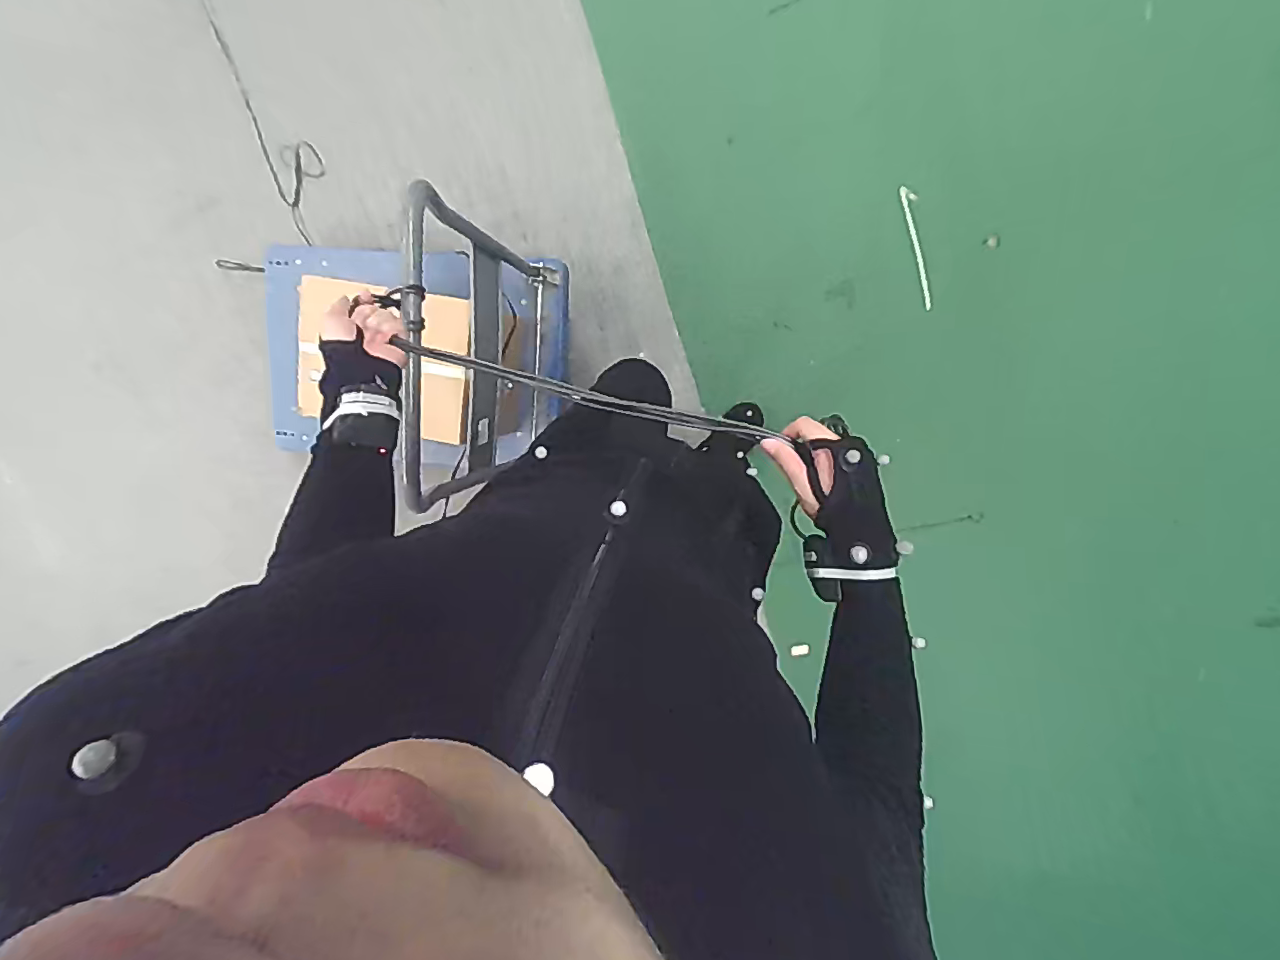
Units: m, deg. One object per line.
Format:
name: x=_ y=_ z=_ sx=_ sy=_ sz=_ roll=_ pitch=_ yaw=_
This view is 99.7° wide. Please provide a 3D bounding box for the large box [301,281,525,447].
large box: x=-0.531 y=-0.279 z=1.320 sx=0.408 sy=0.320 sz=0.320 roll=11 pitch=101 yaw=8
